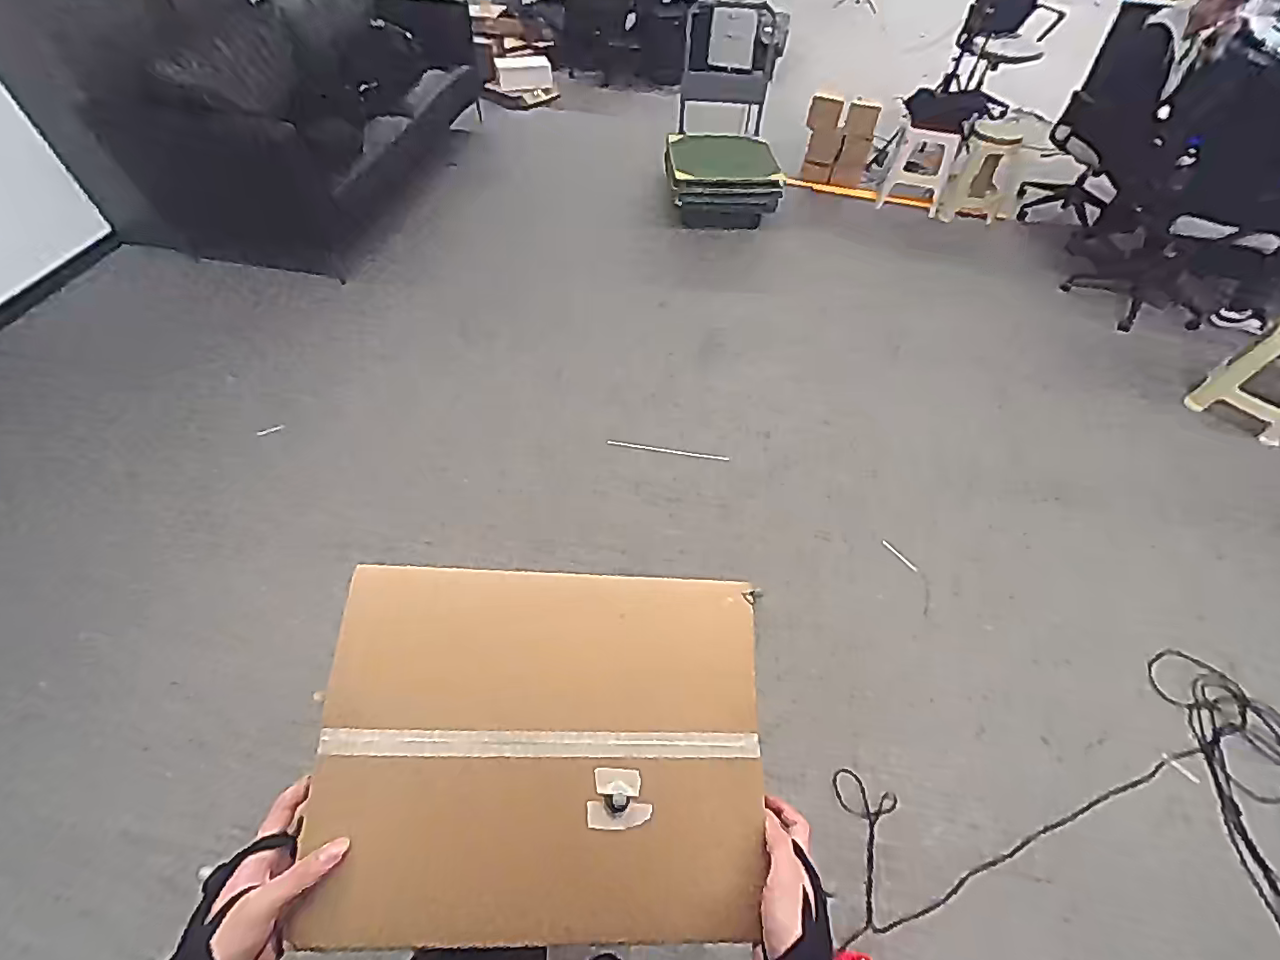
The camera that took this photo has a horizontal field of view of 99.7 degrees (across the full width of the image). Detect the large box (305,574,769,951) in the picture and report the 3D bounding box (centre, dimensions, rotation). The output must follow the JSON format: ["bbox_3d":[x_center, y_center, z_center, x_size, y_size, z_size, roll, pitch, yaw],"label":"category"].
[{"bbox_3d":[-0.099,0.299,0.652,0.408,0.320,0.320,3,71,-7],"label":"large box"}]
